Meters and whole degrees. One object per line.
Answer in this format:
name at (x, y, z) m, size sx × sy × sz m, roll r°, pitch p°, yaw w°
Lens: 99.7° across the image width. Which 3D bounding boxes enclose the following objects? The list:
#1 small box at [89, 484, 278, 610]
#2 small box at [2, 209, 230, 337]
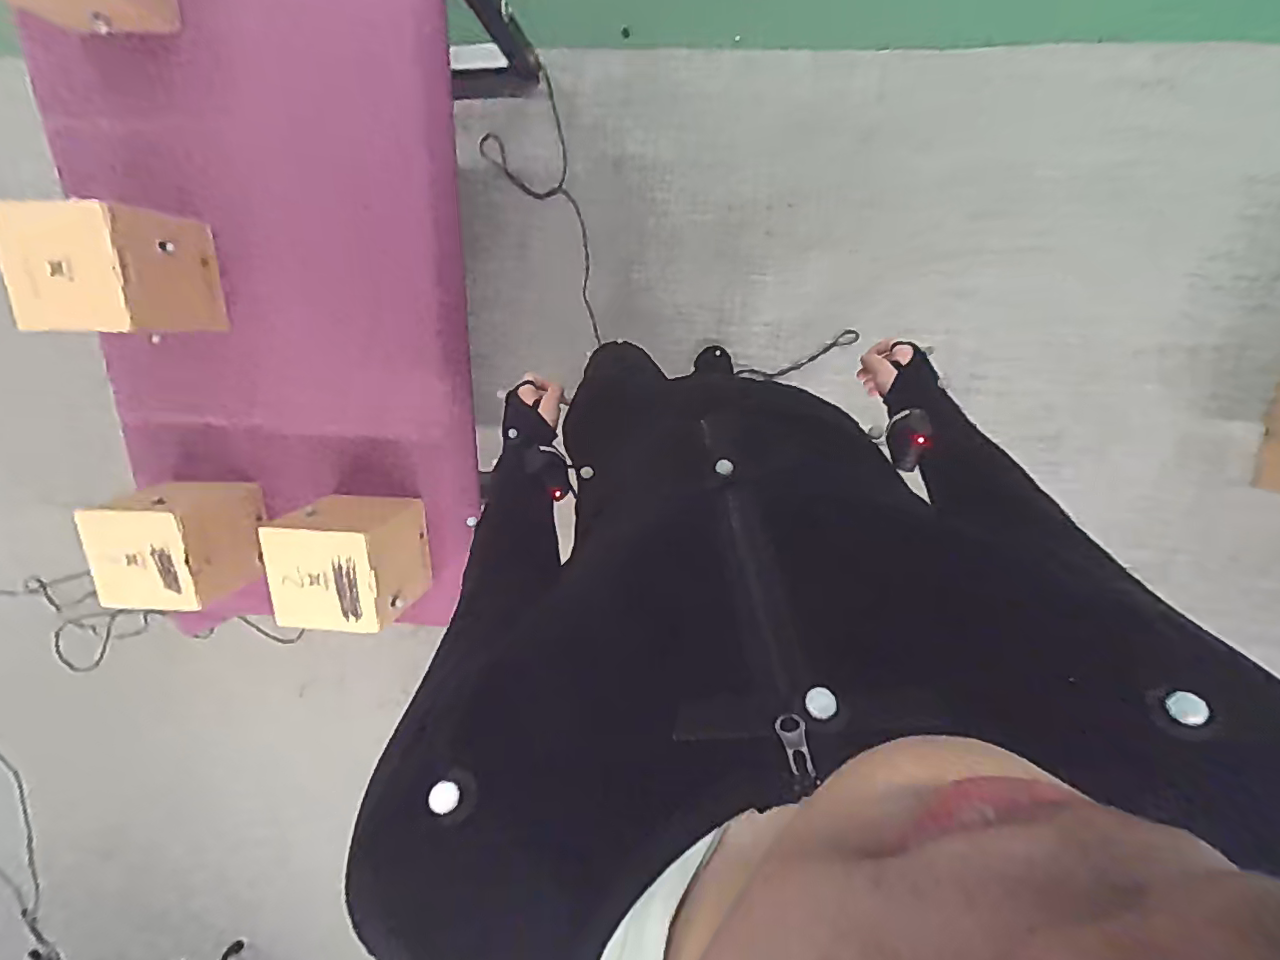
small box at (-0.757, 0.106, 0.924) m, size 0.179 × 0.176 × 0.168 m, roll 1°, pitch 105°, yaw 7°
small box at (-0.761, -0.302, 0.813) m, size 0.179 × 0.176 × 0.168 m, roll 2°, pitch 105°, yaw 6°
